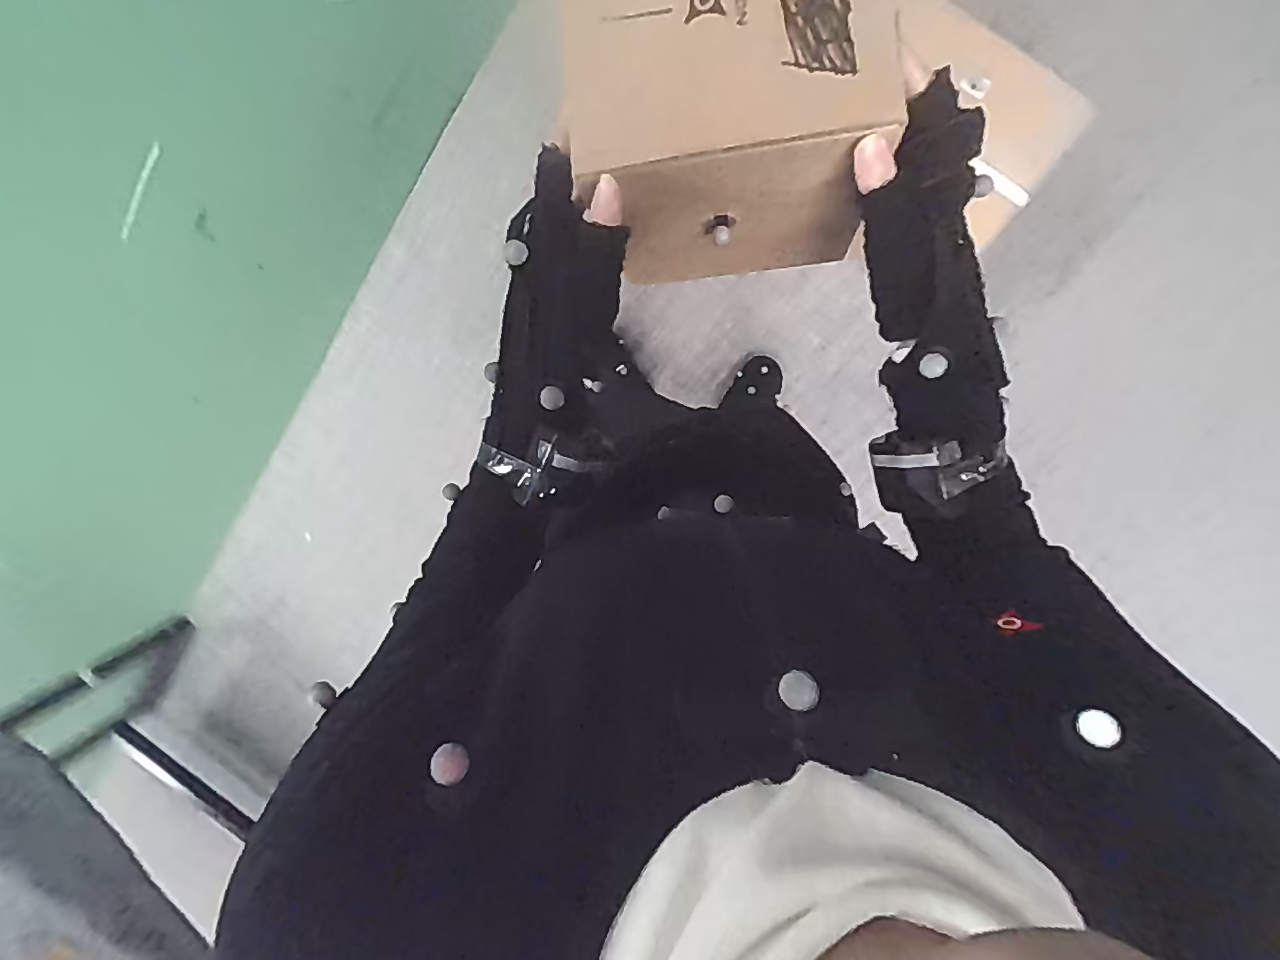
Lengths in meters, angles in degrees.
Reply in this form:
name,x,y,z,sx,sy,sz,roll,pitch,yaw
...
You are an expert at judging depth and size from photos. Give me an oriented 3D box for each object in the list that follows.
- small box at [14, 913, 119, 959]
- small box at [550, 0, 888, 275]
name,x,y,z,sx,sy,sz,roll,pitch,yaw
small box,-1.427,1.207,1.303,0.179,0.176,0.168,42,110,-3
small box,0.050,-0.260,0.369,0.179,0.176,0.168,-5,88,11
